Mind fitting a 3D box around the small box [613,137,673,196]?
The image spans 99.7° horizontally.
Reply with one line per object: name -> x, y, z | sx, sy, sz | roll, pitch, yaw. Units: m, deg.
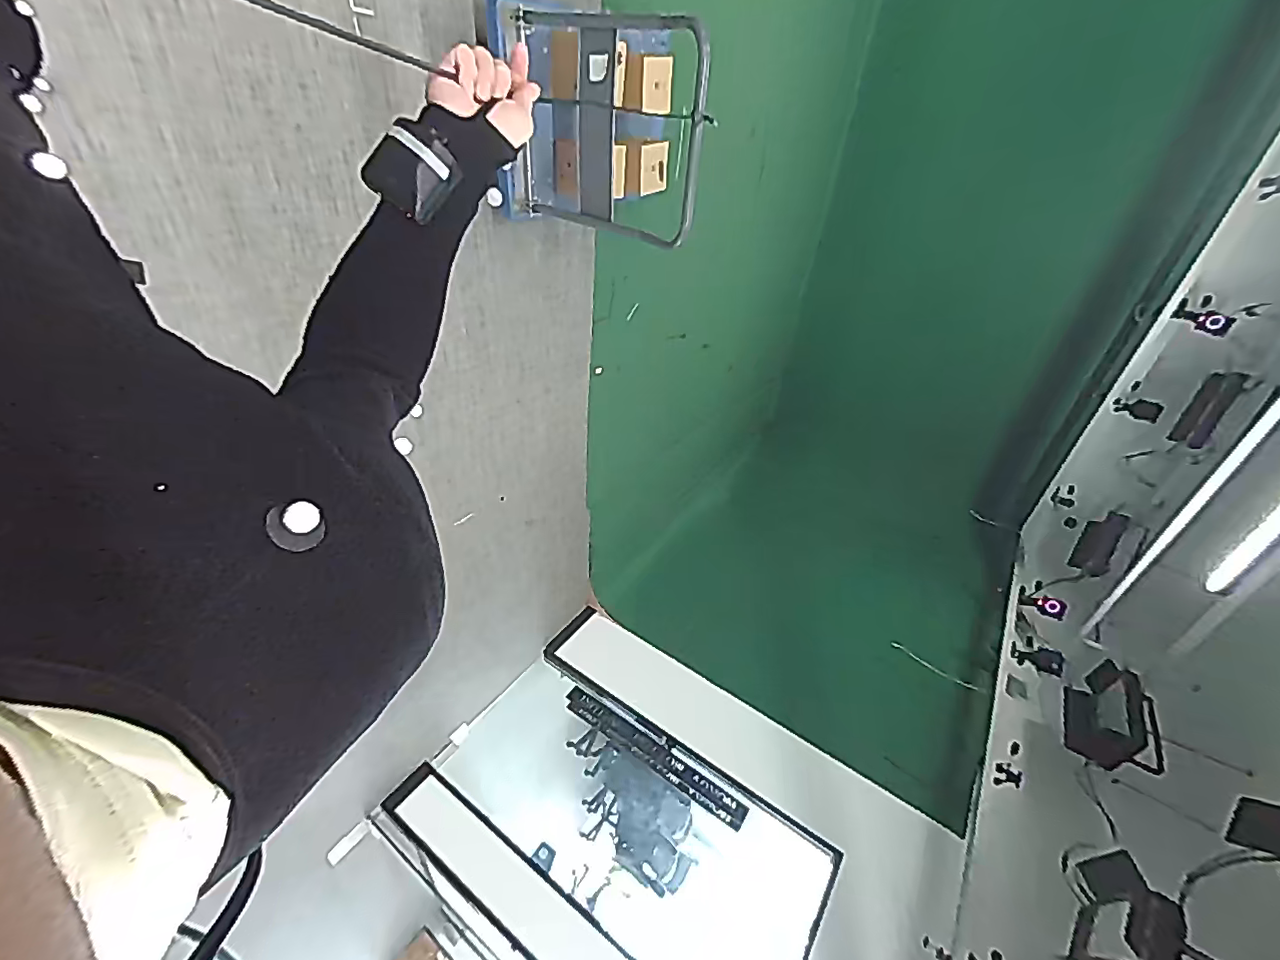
small box -> 0.004, -1.195, 2.055 | 0.179, 0.176, 0.168 | -39, 144, -39

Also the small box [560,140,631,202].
small box -> -0.155, -1.075, 1.873 | 0.179, 0.176, 0.168 | -36, 142, -43

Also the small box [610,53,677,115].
small box -> 0.009, -1.389, 1.895 | 0.179, 0.176, 0.168 | -40, 146, -40
